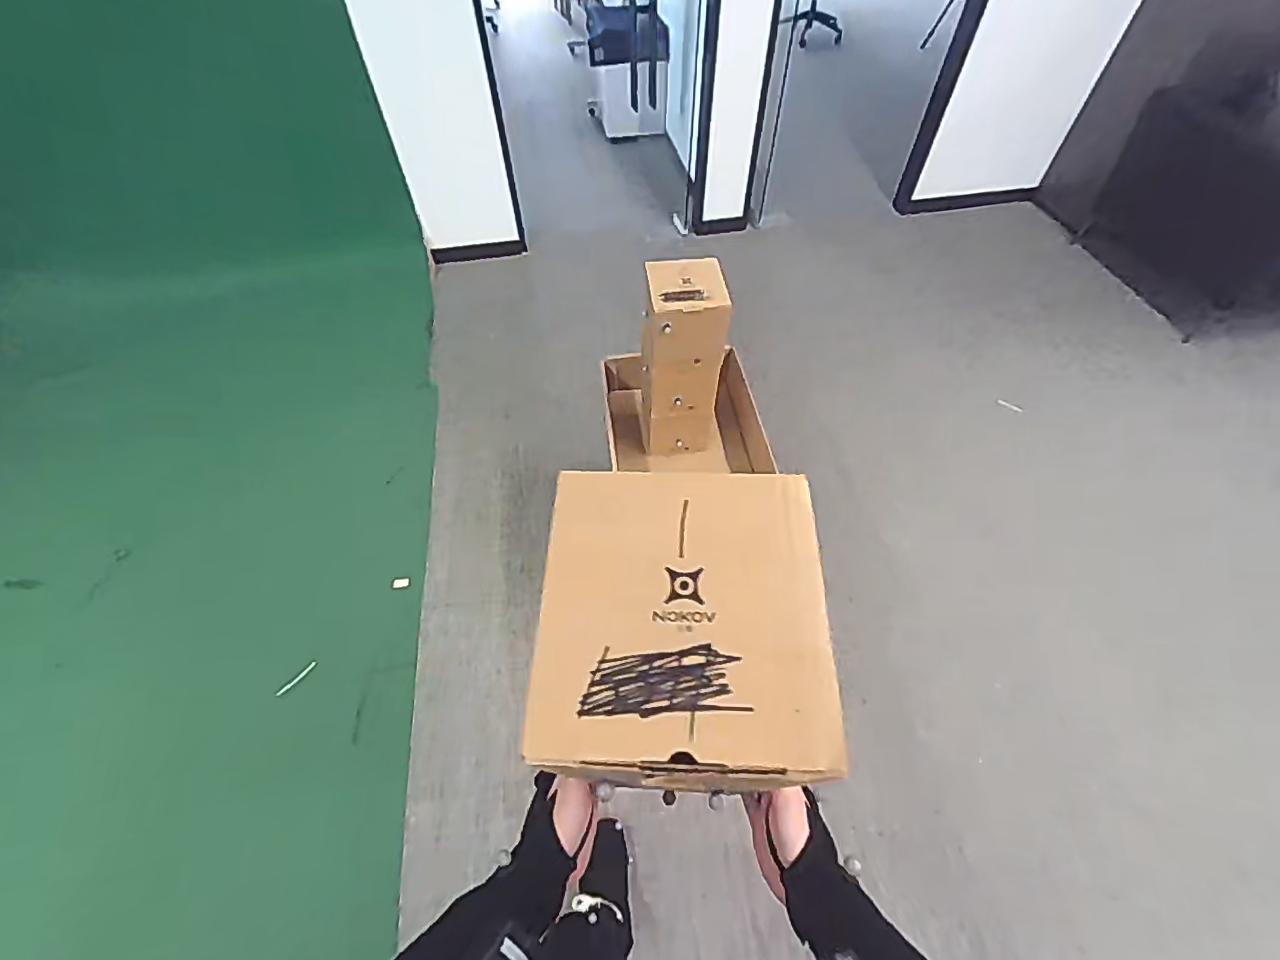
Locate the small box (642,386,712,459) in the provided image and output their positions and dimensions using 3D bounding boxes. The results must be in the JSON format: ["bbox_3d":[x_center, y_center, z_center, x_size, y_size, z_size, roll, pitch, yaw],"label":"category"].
[{"bbox_3d":[0.096,-0.182,1.502,0.168,0.176,0.179,-6,55,-4],"label":"small box"}]

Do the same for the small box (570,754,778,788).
[{"bbox_3d":[0.035,0.194,0.527,0.168,0.176,0.179,3,58,4],"label":"small box"}]

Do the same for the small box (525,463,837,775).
[{"bbox_3d":[0.028,0.107,0.388,0.168,0.176,0.179,2,58,3],"label":"small box"}]

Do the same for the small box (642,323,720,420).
[{"bbox_3d":[0.096,-0.274,1.369,0.168,0.176,0.179,-6,55,-5],"label":"small box"}]
